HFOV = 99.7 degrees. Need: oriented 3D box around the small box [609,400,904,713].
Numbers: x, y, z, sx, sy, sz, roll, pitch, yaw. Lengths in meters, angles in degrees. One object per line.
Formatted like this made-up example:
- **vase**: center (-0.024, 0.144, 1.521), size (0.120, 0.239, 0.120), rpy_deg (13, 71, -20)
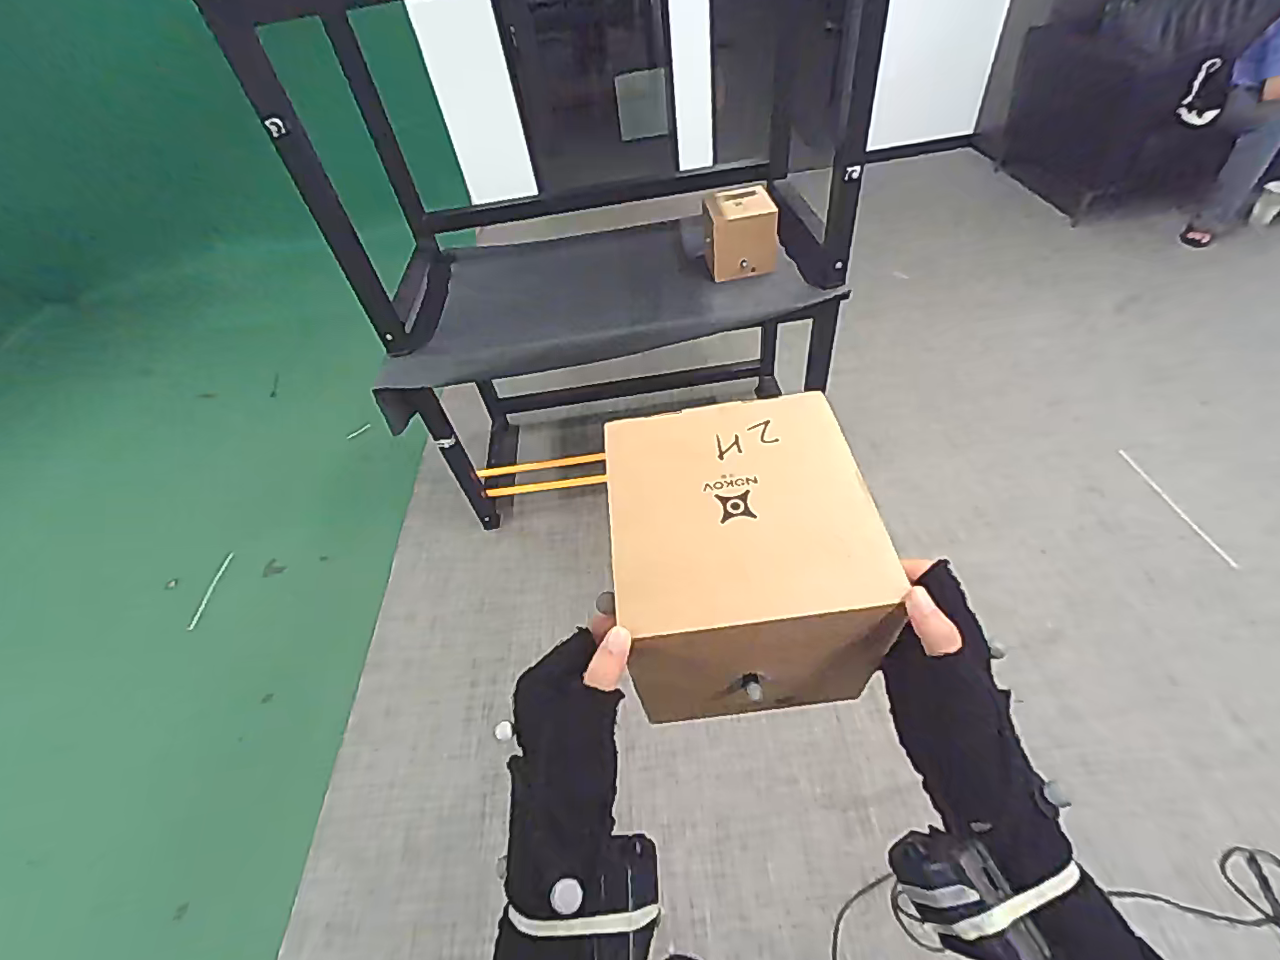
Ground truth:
- **small box**: center (0.073, 0.067, 0.421), size (0.168, 0.176, 0.179), rpy_deg (-8, 50, 1)
